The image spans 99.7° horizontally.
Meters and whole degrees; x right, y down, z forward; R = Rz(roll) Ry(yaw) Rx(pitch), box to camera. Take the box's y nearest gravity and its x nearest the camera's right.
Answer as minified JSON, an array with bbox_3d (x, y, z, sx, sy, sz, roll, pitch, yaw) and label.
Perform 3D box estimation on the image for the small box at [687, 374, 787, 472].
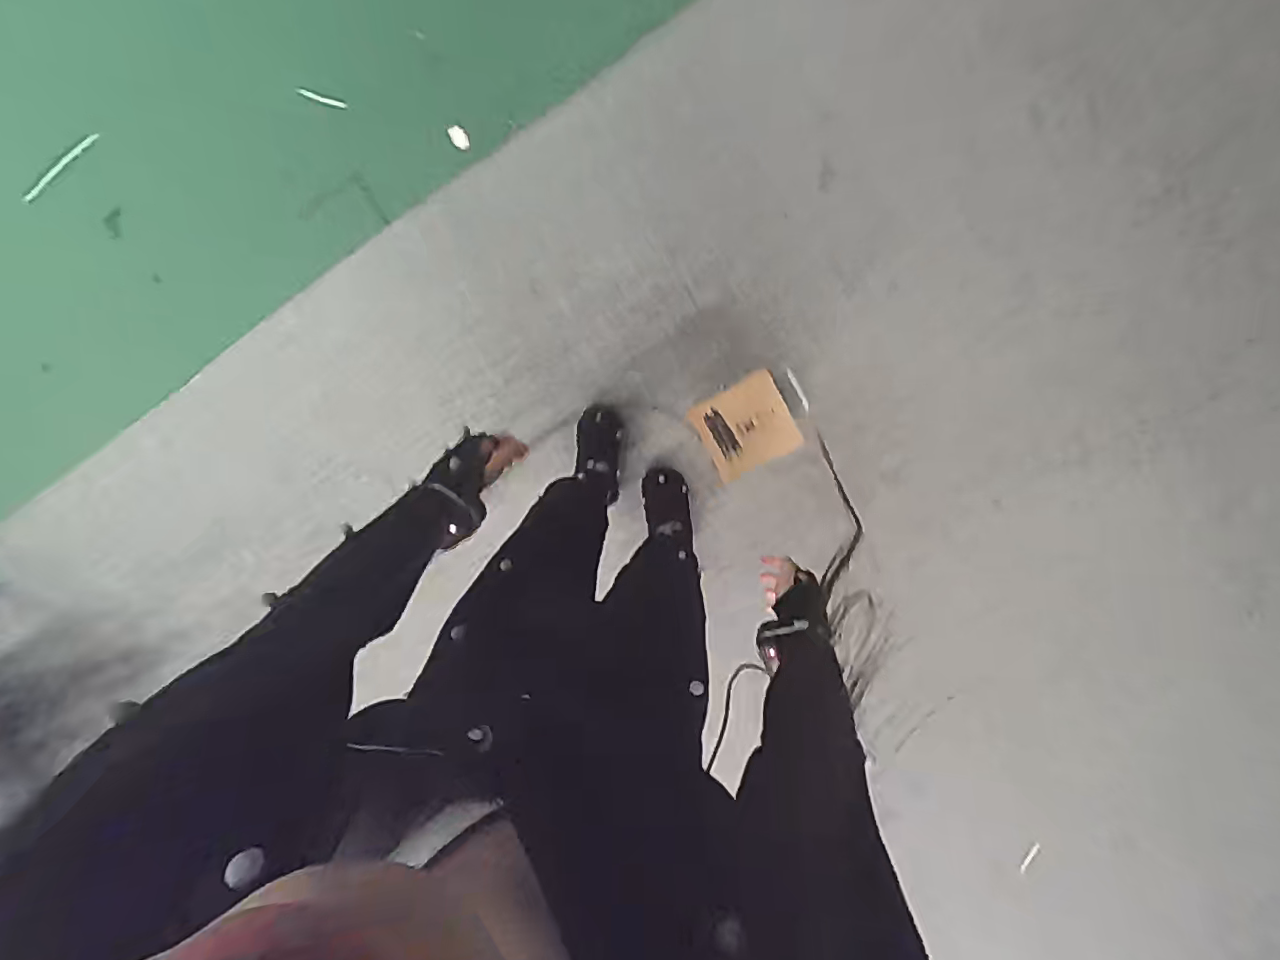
[{"bbox_3d":[0.226,-0.141,1.284,0.179,0.176,0.168,-27,96,12],"label":"small box"}]
